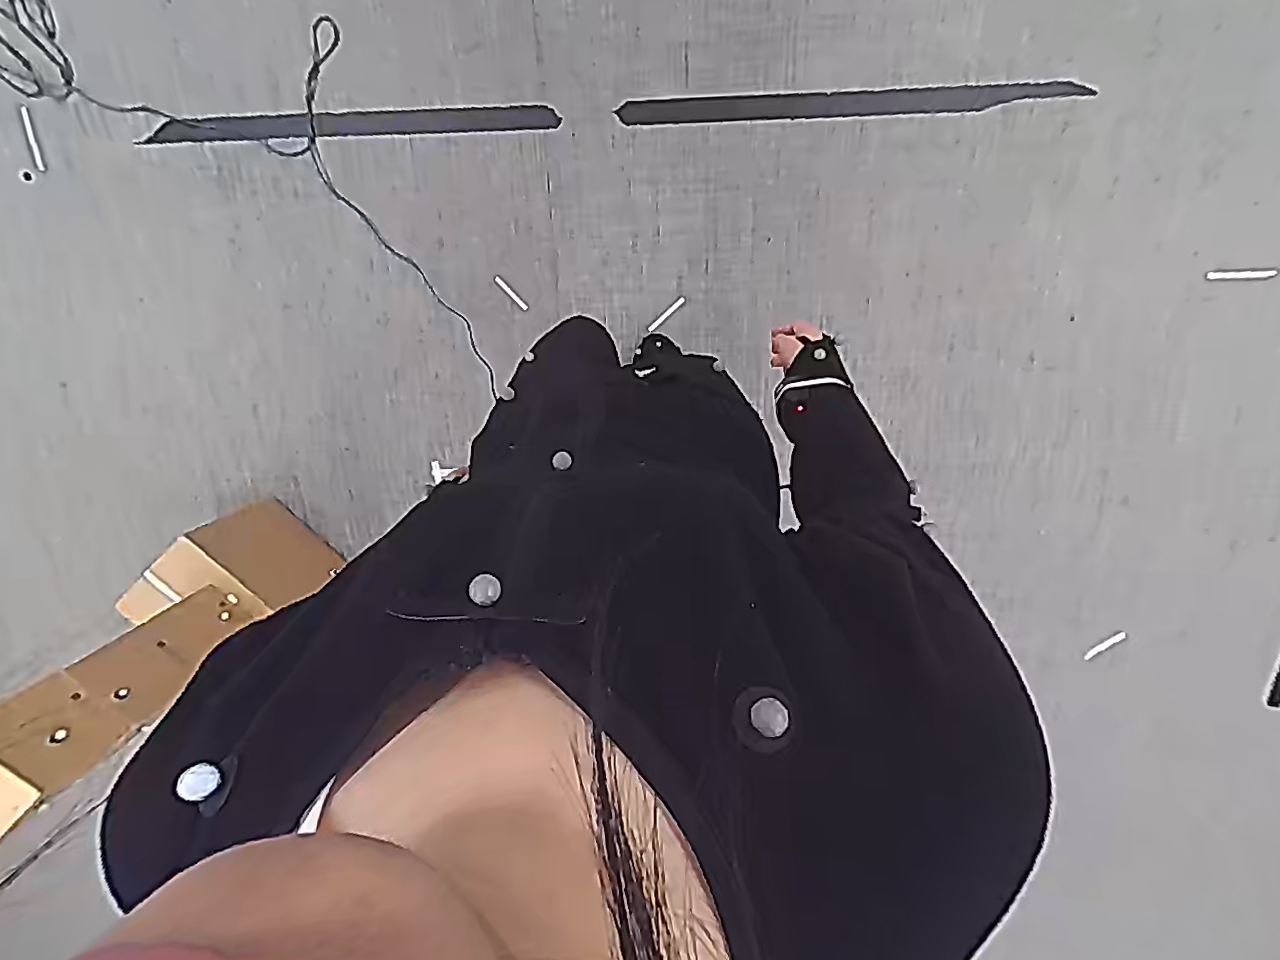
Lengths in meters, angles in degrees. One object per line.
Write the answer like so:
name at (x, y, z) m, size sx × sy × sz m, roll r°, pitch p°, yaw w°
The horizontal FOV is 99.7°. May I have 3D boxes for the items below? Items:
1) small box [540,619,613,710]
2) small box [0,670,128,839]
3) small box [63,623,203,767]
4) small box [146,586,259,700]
small box at (-0.177, 0.531, 1.571) m, size 0.168 × 0.176 × 0.179 m, roll -11°, pitch 105°, yaw 4°
small box at (-1.075, 0.476, 0.954) m, size 0.179 × 0.176 × 0.168 m, roll -42°, pitch 100°, yaw 14°
small box at (-1.065, 0.434, 1.112) m, size 0.179 × 0.176 × 0.168 m, roll -41°, pitch 100°, yaw 14°
small box at (-1.053, 0.385, 1.268) m, size 0.179 × 0.176 × 0.168 m, roll -41°, pitch 100°, yaw 13°
